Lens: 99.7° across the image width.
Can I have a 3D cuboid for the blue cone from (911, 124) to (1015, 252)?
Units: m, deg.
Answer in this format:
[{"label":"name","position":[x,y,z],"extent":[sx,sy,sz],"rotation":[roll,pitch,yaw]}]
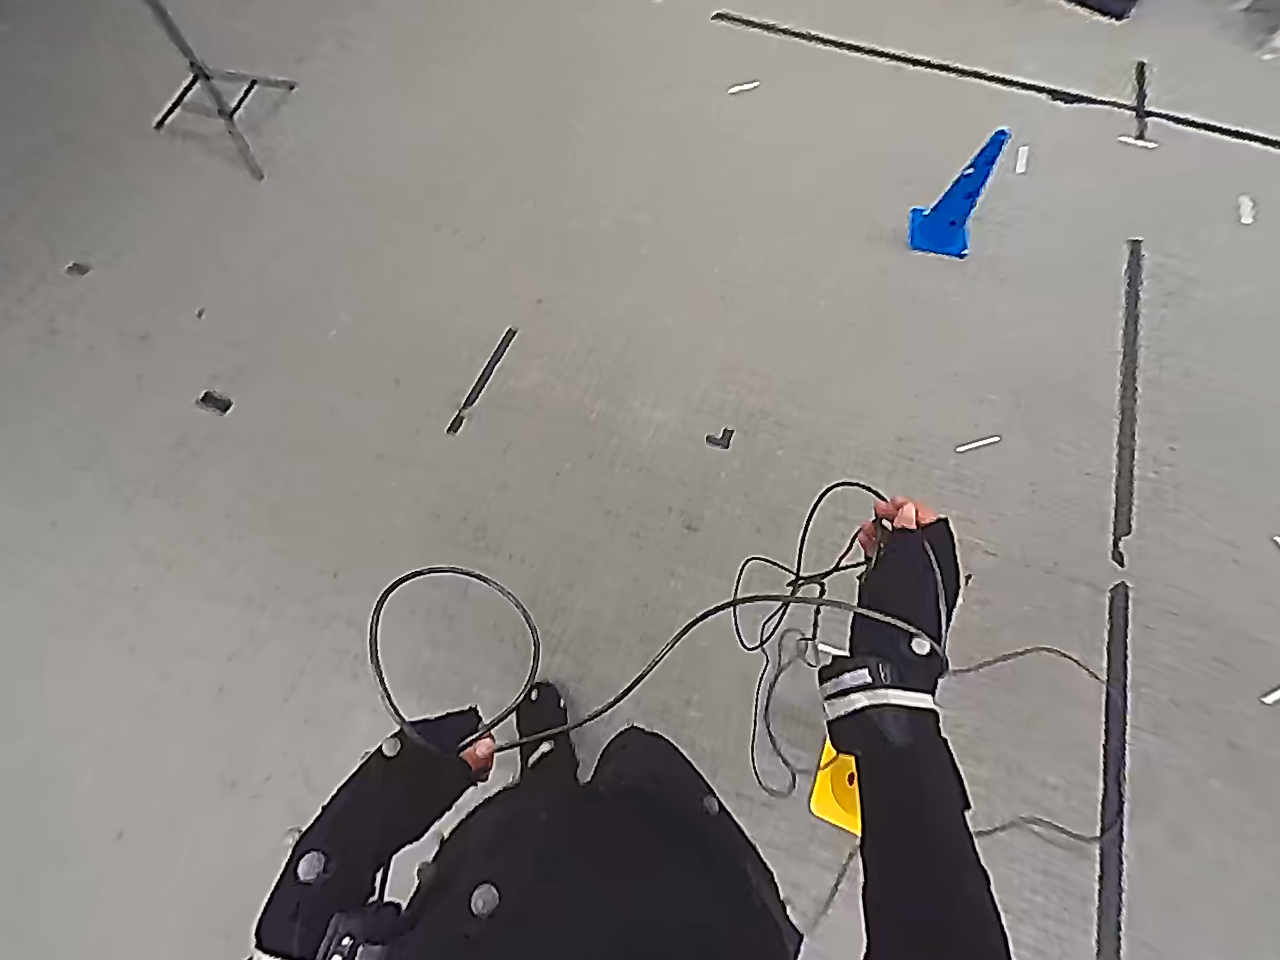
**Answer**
[{"label":"blue cone","position":[1.035,-0.933,1.709],"extent":[0.192,0.380,0.193],"rotation":[14,68,4]}]
